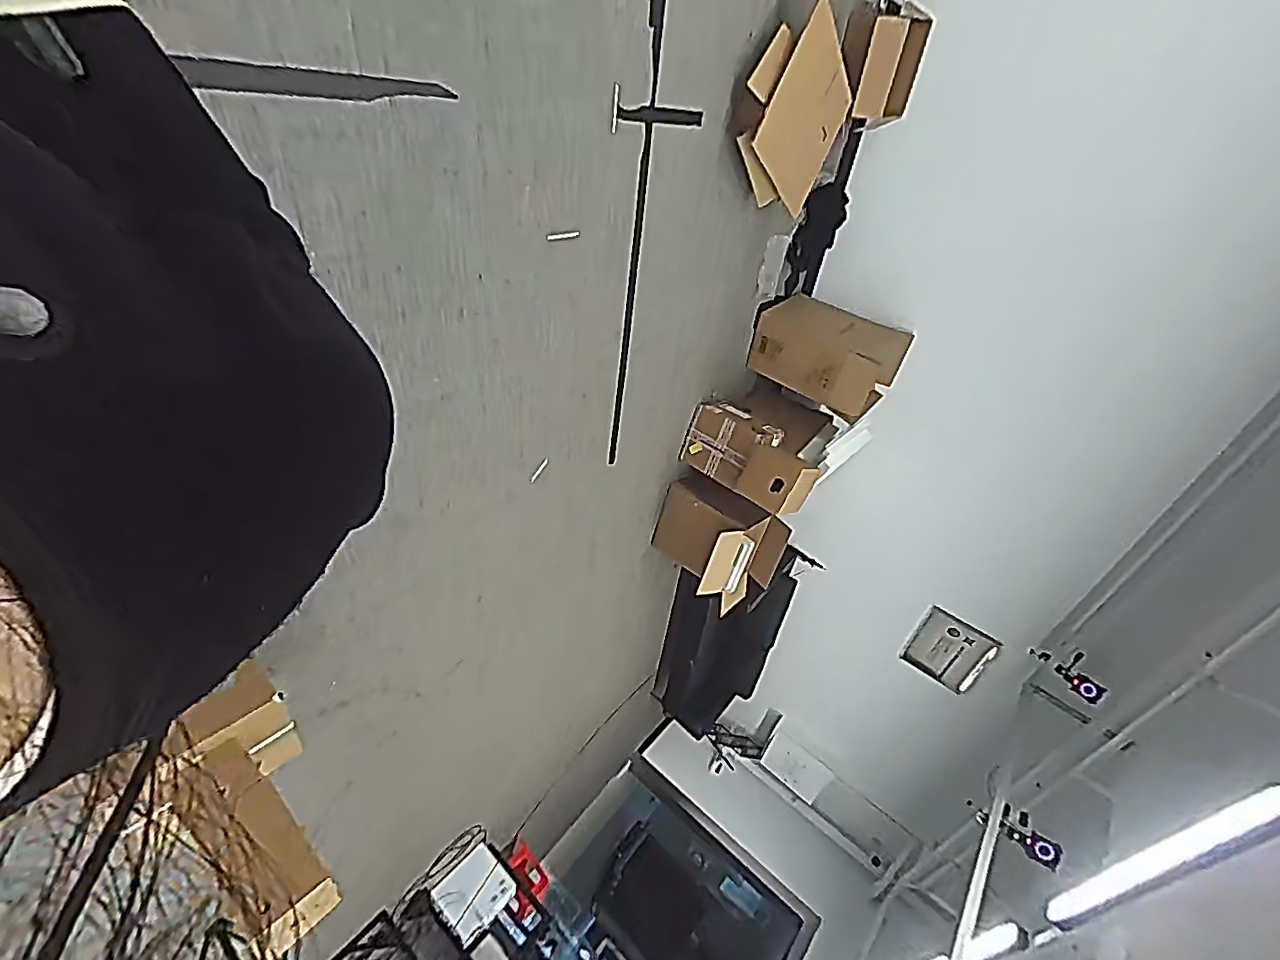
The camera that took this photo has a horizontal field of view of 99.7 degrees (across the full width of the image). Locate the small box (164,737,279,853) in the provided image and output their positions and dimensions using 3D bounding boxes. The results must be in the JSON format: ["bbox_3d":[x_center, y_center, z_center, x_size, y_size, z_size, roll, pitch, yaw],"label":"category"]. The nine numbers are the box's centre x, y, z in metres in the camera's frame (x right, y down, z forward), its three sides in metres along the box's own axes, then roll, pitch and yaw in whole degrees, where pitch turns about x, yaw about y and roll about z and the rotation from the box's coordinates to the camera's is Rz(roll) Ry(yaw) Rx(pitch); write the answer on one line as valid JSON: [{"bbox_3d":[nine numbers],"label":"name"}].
[{"bbox_3d":[-1.118,0.836,1.449,0.179,0.176,0.168,-32,142,-40],"label":"small box"}]

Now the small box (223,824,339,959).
[{"bbox_3d":[-0.866,0.988,1.302,0.179,0.176,0.168,-30,141,-44],"label":"small box"}]
